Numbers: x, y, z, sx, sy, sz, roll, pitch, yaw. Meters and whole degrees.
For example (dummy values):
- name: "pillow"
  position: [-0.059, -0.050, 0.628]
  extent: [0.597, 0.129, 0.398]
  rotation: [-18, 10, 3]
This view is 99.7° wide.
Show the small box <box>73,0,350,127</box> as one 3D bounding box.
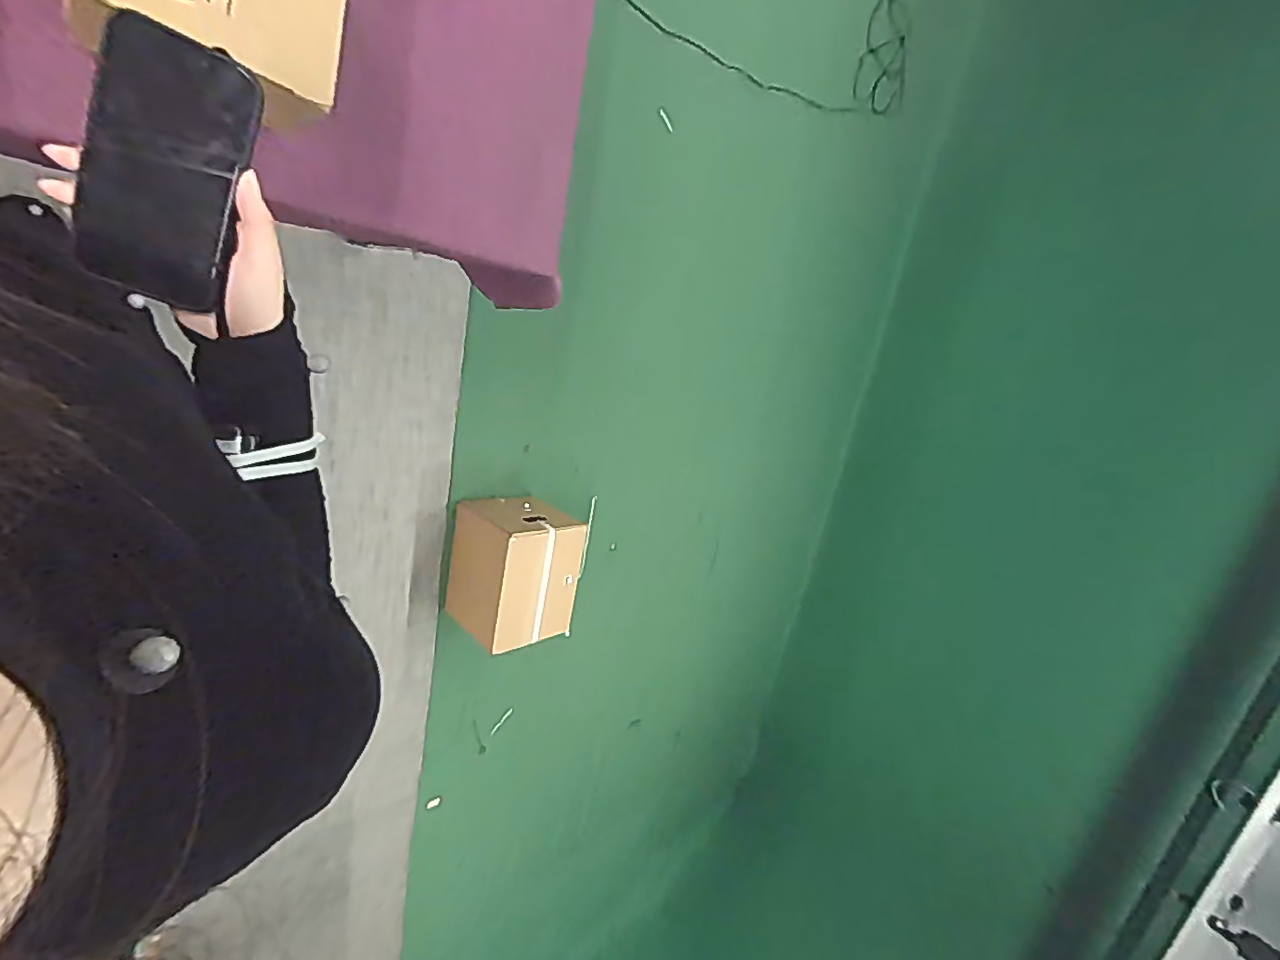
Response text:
- name: "small box"
  position: [-0.371, -0.445, 0.471]
  extent: [0.168, 0.176, 0.179]
  rotation: [2, 107, -48]
